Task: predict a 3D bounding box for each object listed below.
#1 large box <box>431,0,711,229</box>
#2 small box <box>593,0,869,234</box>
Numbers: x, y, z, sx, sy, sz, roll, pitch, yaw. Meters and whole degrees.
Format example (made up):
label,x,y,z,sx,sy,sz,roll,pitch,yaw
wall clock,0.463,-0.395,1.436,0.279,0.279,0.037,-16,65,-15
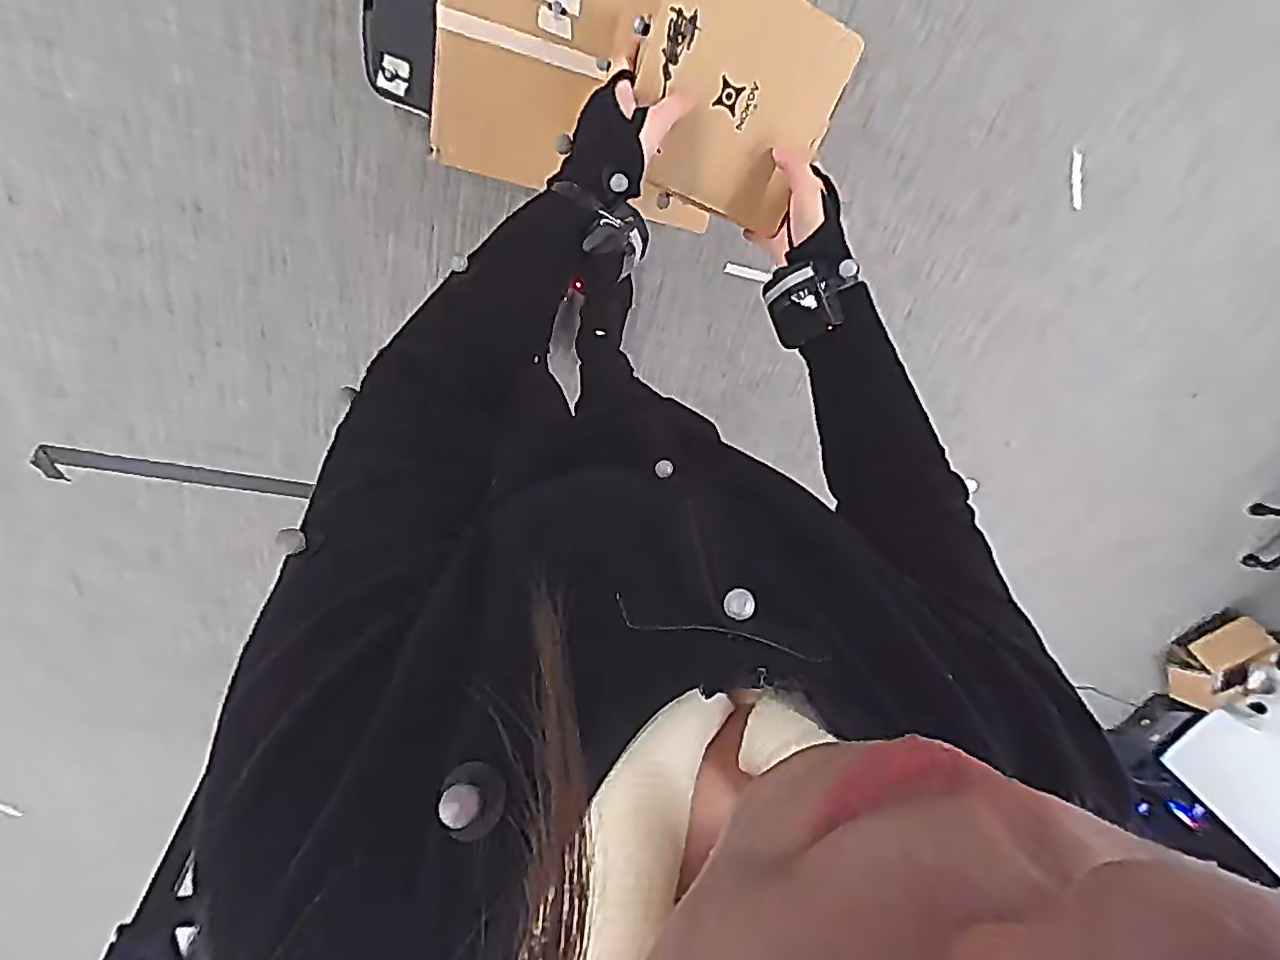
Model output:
label,x,y,z,sx,sy,sz,roll,pitch,yaw
large box,-0.077,-0.609,0.825,0.408,0.320,0.320,8,119,-15
small box,0.069,-0.363,0.520,0.179,0.176,0.168,14,117,-21
